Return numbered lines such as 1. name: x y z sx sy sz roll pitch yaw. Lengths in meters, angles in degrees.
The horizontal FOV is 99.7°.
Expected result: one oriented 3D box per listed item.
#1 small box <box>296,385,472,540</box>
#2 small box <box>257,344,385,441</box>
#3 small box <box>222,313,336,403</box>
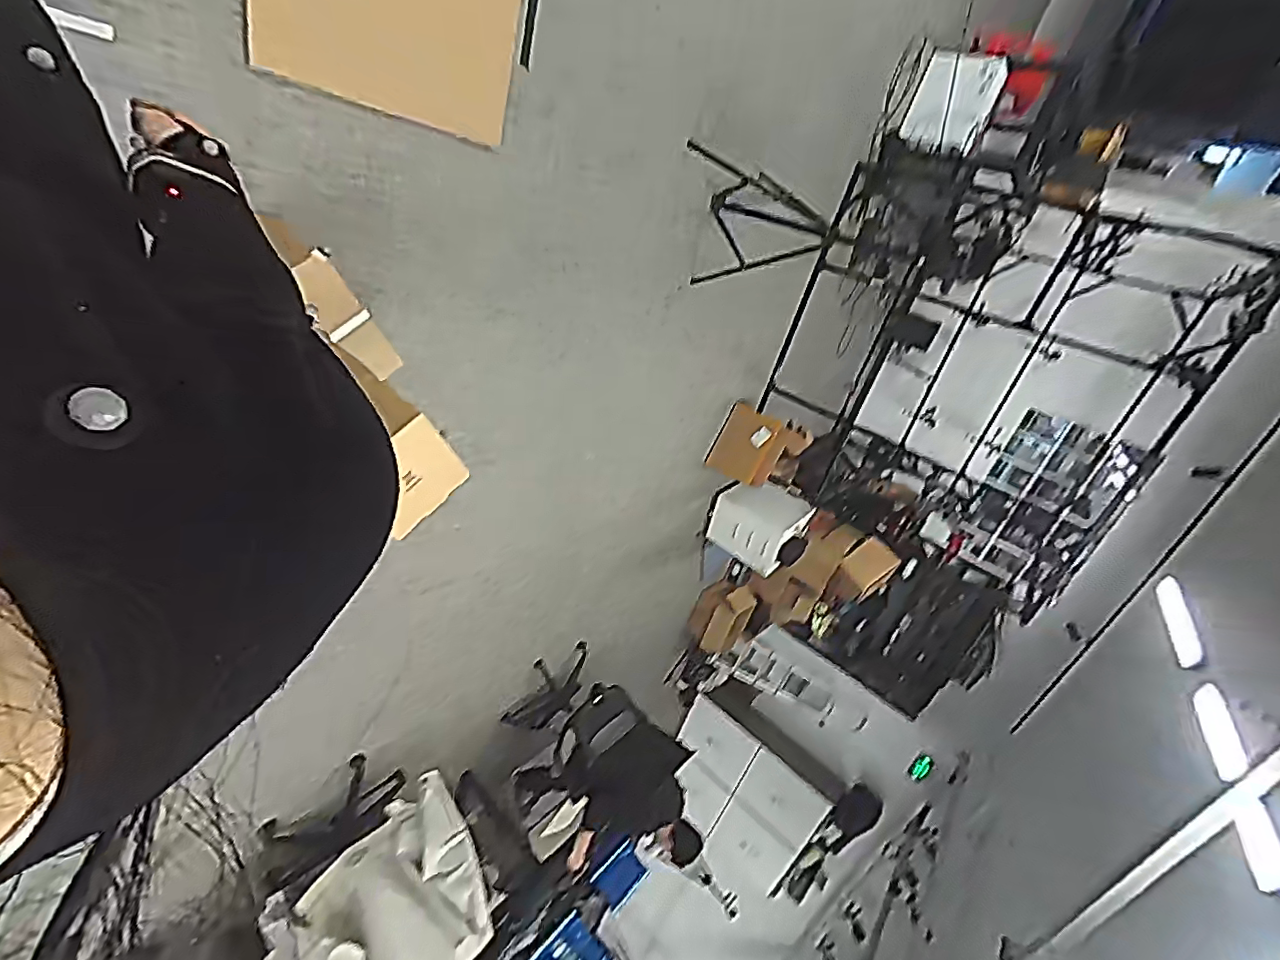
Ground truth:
1. small box: -0.425 -0.036 0.905 0.168 0.176 0.179 -47 149 -18
2. small box: -0.542 -0.115 0.988 0.168 0.176 0.179 -47 150 -18
3. small box: -0.663 -0.195 1.066 0.168 0.176 0.179 -47 149 -18
